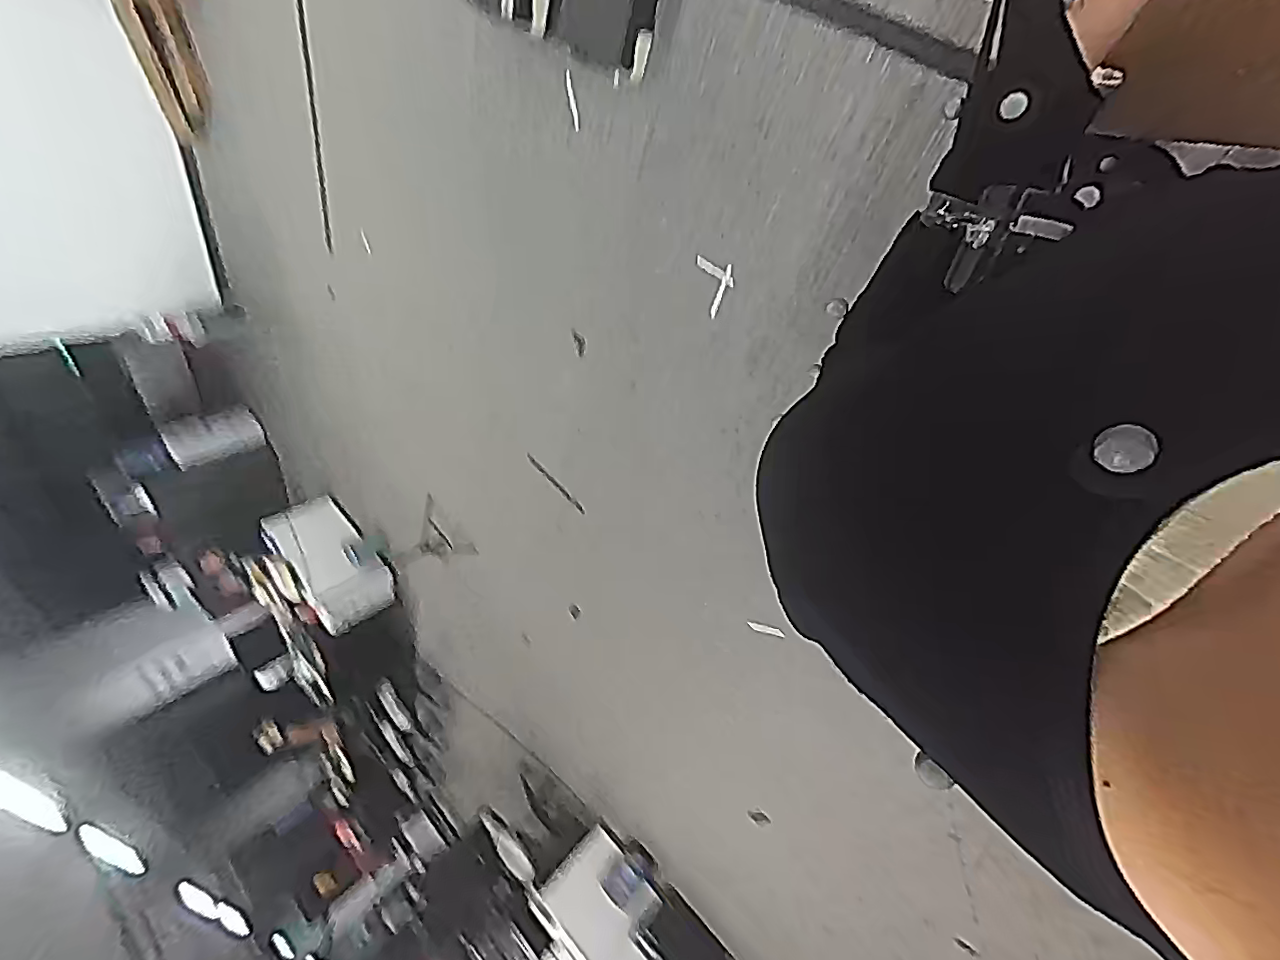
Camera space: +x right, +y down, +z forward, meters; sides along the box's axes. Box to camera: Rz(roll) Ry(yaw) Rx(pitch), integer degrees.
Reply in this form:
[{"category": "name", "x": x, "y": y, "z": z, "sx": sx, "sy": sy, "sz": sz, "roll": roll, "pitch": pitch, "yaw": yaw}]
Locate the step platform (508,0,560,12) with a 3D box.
[{"category": "step platform", "x": -0.270, "y": -1.571, "z": 1.273, "sx": 0.286, "sy": 0.204, "sz": 0.684, "roll": 46, "pitch": 136, "yaw": 14}]
